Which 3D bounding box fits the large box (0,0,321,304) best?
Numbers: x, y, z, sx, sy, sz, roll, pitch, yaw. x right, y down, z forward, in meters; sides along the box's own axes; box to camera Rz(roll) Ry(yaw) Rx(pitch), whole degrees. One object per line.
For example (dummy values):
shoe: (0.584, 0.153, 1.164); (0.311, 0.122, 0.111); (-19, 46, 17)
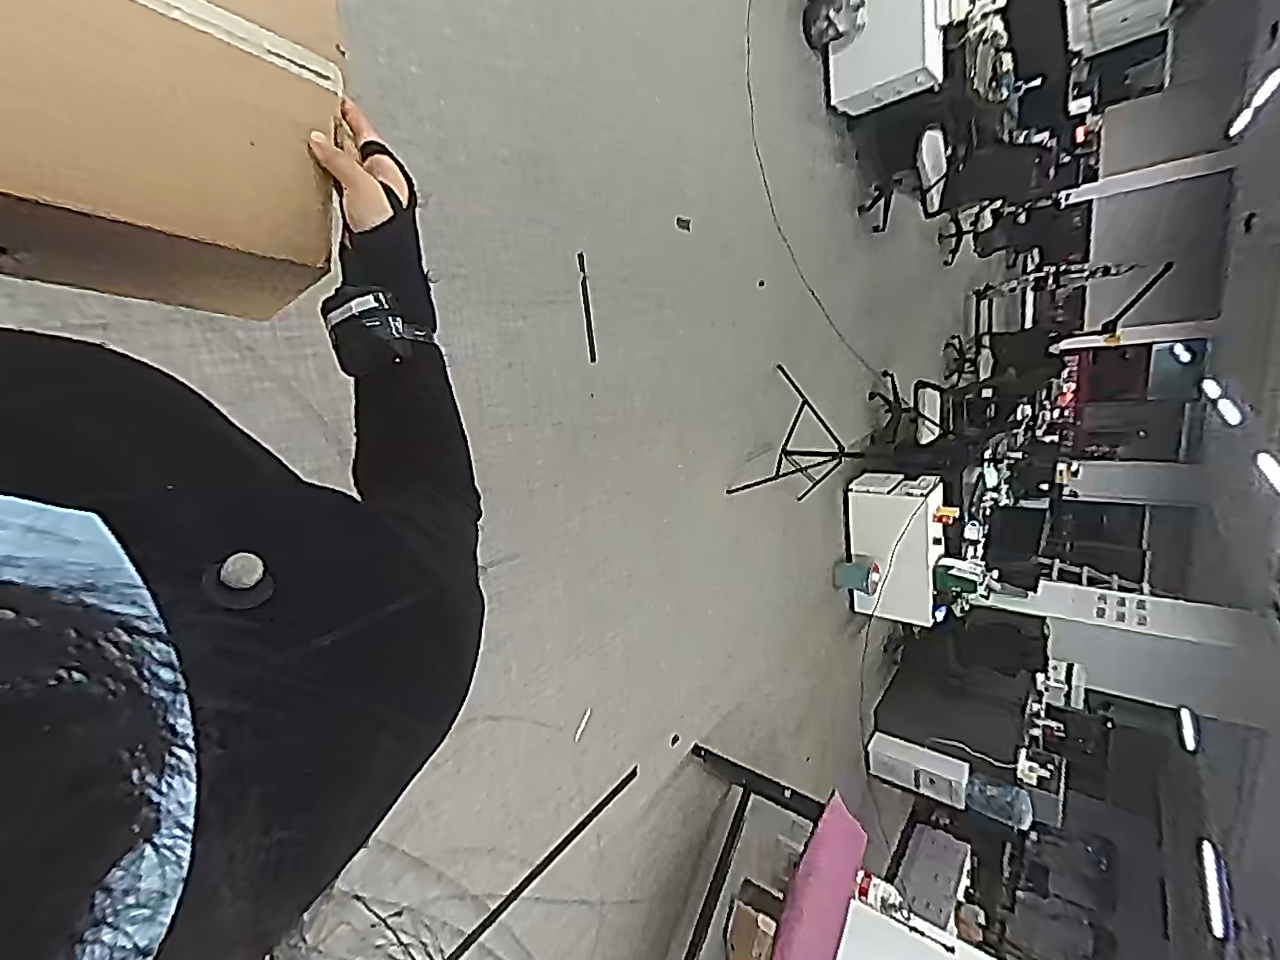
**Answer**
large box: (-0.517, -0.353, 0.433); (0.408, 0.320, 0.320); (0, 94, -43)
